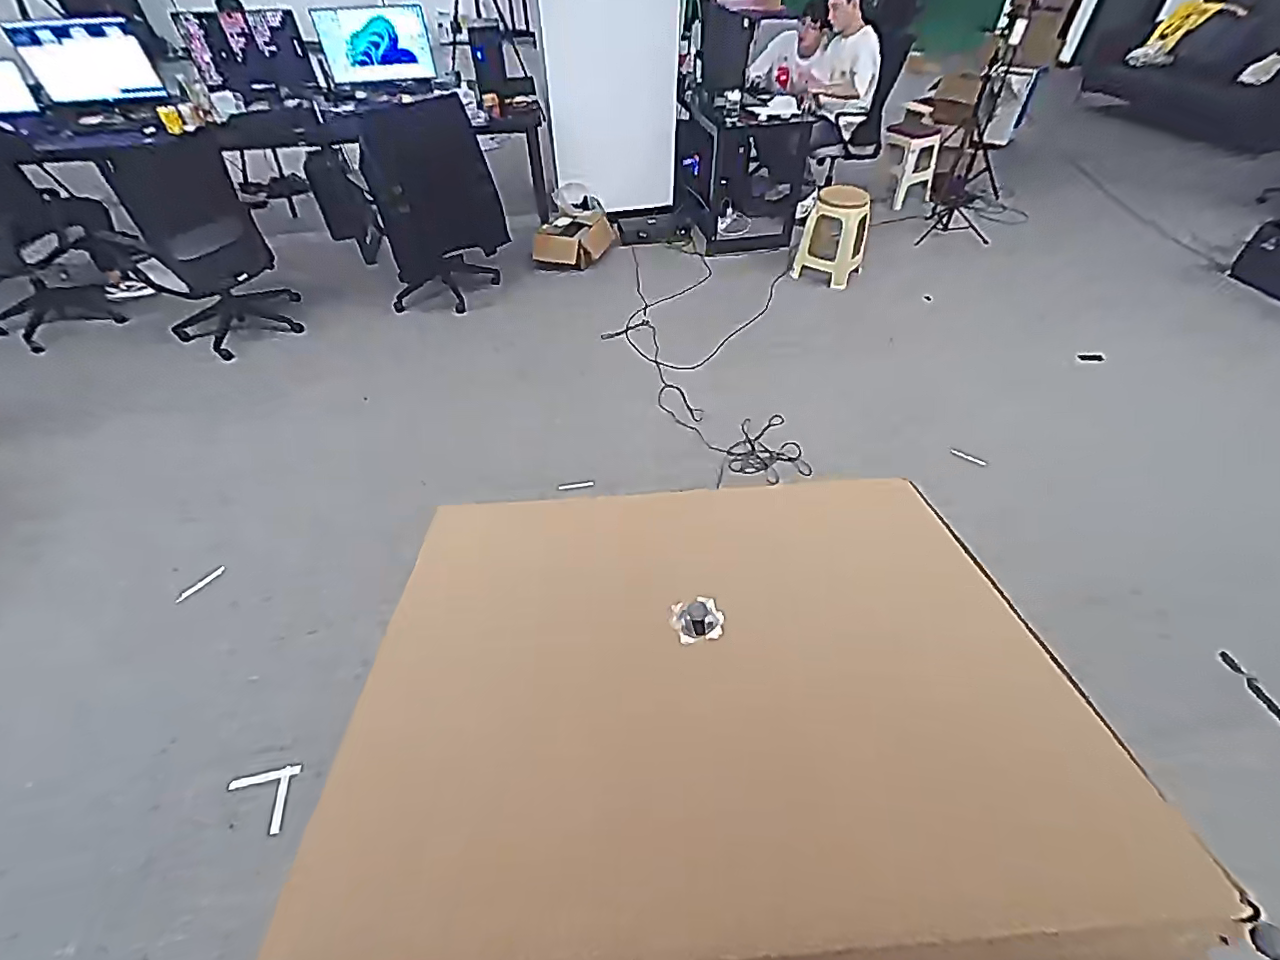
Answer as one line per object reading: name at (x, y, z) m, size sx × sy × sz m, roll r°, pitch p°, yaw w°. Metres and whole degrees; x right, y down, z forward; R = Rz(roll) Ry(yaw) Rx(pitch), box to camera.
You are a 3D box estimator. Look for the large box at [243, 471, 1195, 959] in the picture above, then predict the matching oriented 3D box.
large box at (0.030, 0.217, 0.424) m, size 0.408 × 0.320 × 0.320 m, roll -6°, pitch 37°, yaw -1°
